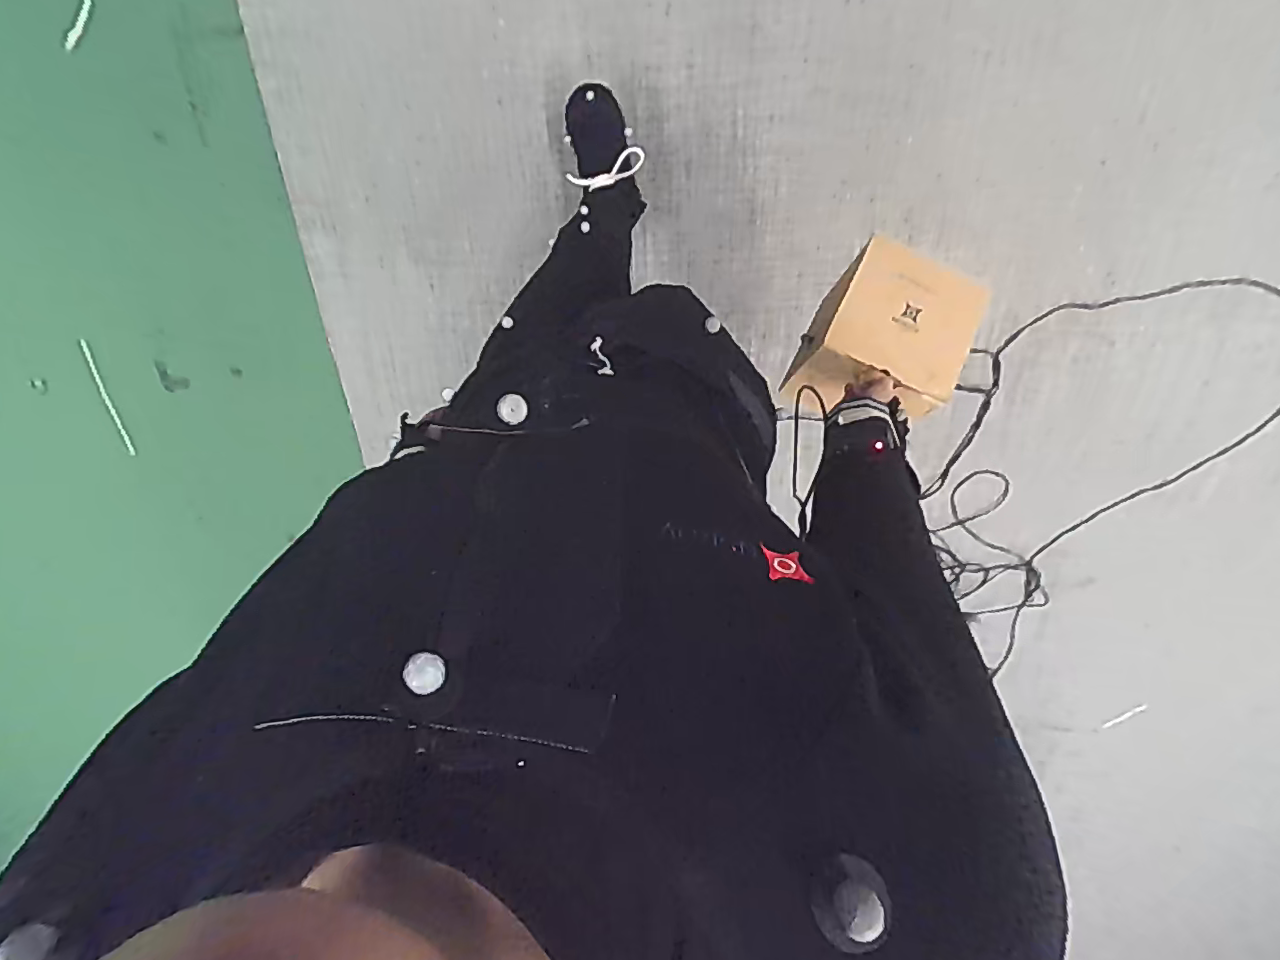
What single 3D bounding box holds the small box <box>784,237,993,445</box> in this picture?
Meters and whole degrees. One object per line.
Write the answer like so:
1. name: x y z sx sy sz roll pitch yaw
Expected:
1. small box: 0.313 -0.170 0.720 0.168 0.176 0.179 29 76 1
